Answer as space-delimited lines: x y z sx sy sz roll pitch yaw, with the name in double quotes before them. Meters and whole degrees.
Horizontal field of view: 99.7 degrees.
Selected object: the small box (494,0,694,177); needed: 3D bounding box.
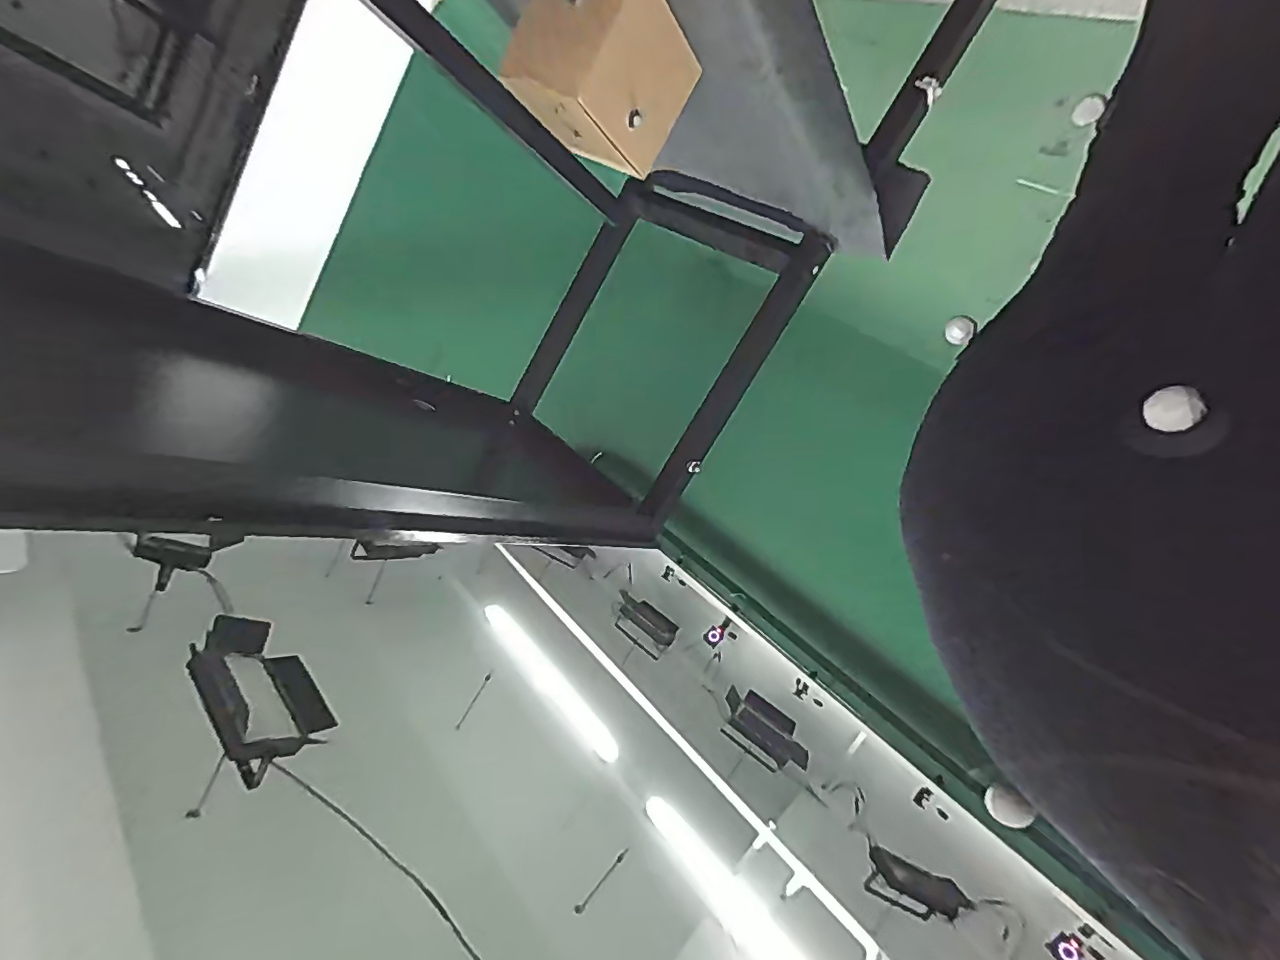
"small box" -0.055 -0.561 0.737 0.168 0.176 0.179 37 -167 27
